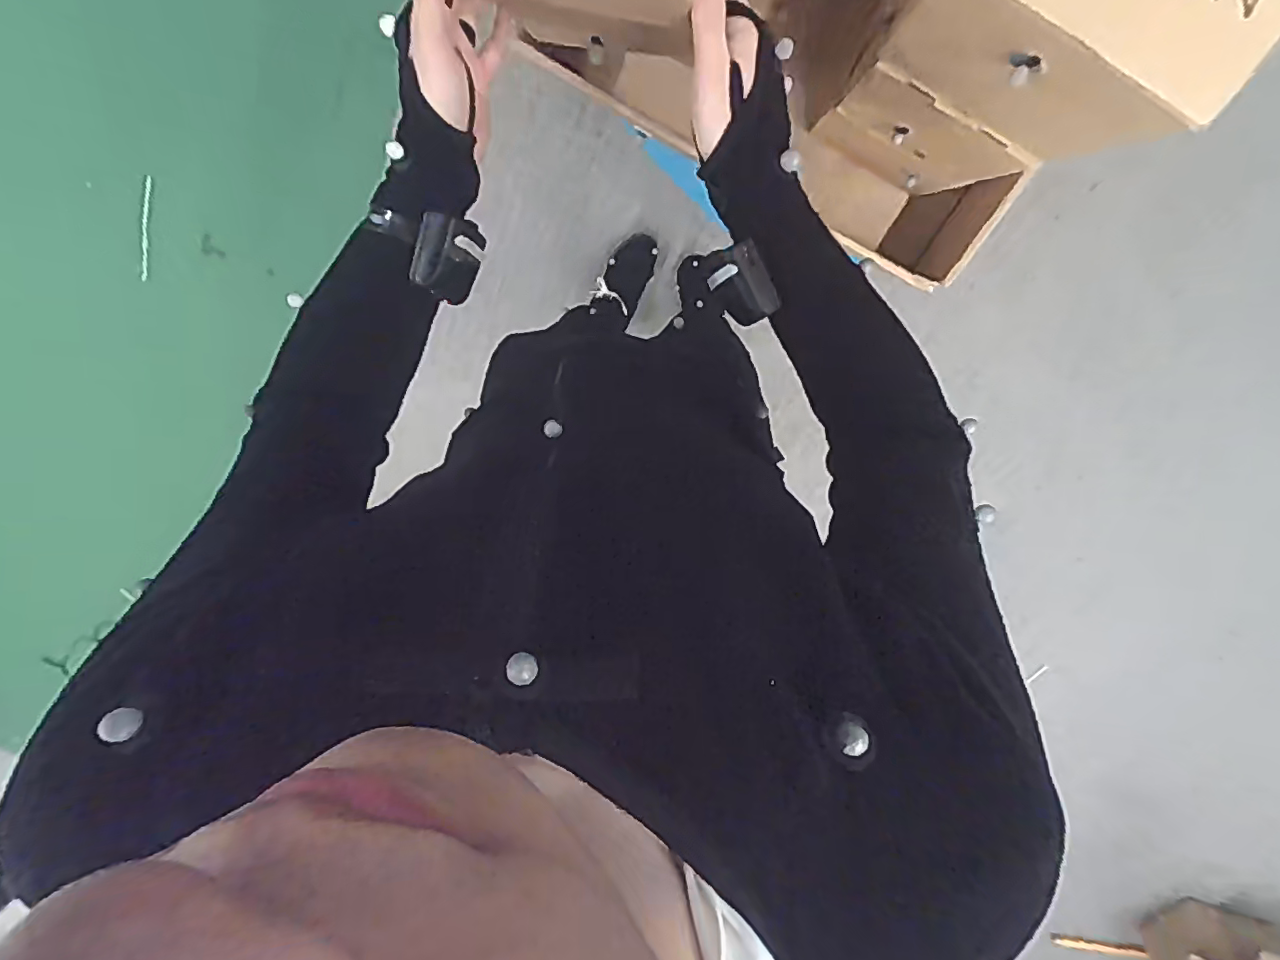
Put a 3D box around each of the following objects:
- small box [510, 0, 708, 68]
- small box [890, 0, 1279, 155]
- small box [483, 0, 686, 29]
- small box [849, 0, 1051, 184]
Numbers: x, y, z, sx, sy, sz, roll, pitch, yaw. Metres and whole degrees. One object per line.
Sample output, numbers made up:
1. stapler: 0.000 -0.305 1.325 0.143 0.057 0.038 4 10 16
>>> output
1. small box: -0.022 -0.458 0.426 0.168 0.176 0.179 9 118 4
2. small box: 0.293 -0.333 0.338 0.179 0.176 0.168 29 115 -5
3. small box: -0.046 -0.373 0.288 0.179 0.176 0.168 13 117 3
4. small box: 0.317 -0.399 0.488 0.168 0.176 0.179 29 115 -5
